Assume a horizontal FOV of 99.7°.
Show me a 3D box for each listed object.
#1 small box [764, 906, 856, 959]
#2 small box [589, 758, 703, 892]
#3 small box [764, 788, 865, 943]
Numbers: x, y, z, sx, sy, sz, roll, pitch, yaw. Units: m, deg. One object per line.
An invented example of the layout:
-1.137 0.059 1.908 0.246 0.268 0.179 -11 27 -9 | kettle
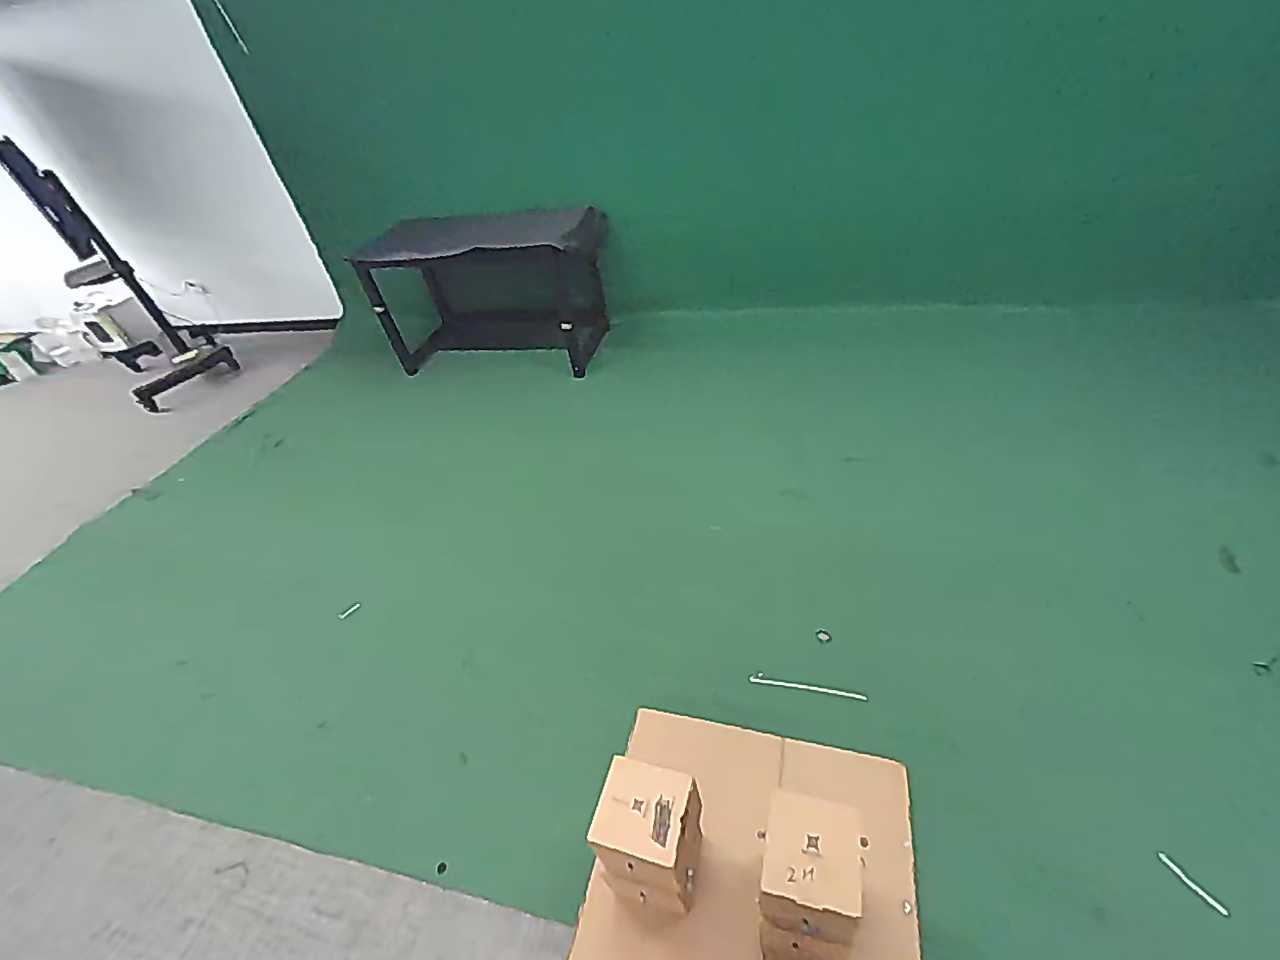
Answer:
0.344 0.851 1.109 0.168 0.176 0.179 3 42 16 | small box
0.023 0.701 1.098 0.179 0.176 0.168 4 42 21 | small box
0.324 0.718 1.012 0.168 0.176 0.179 4 42 18 | small box
